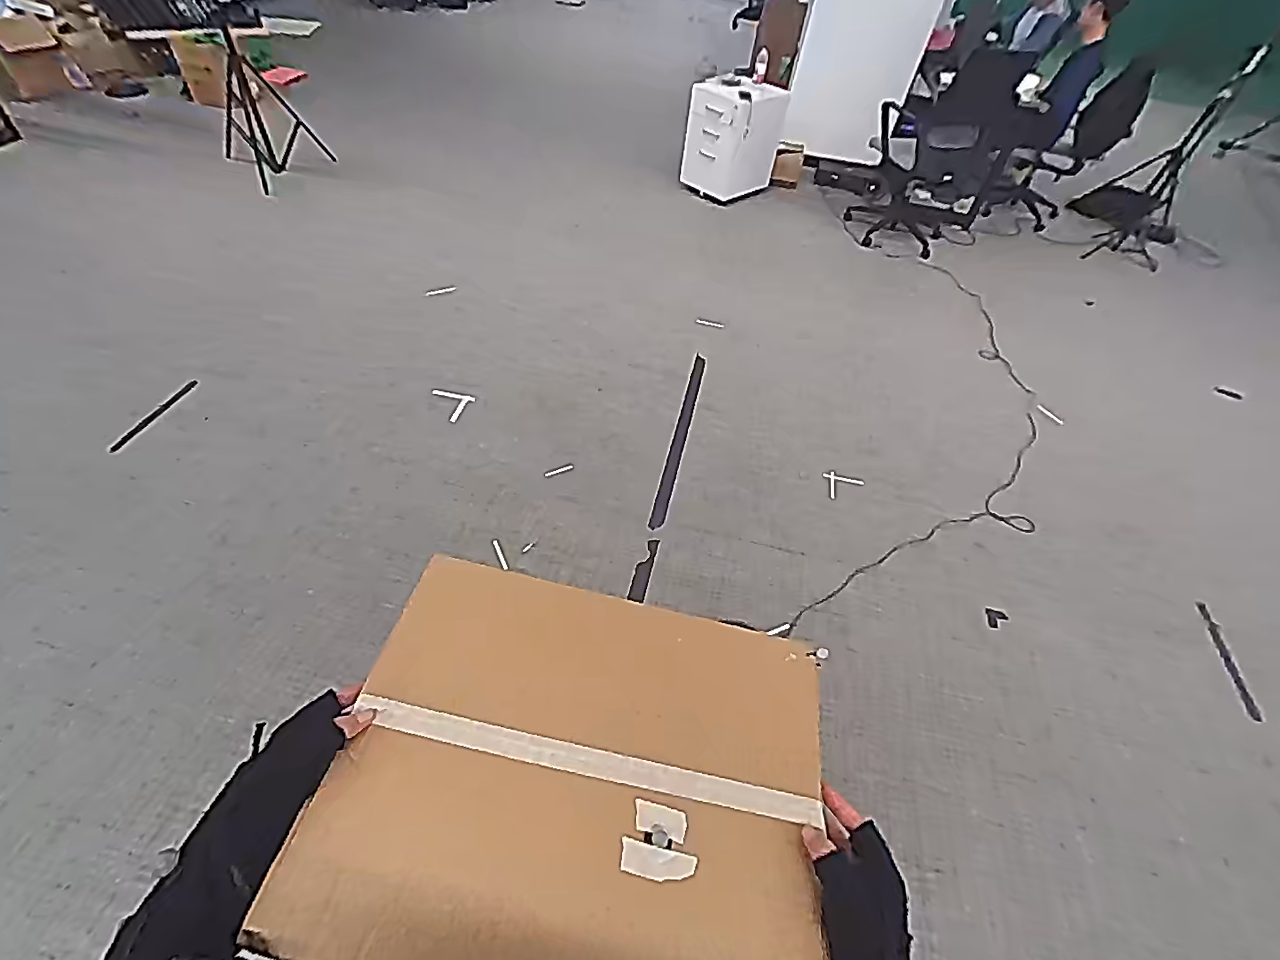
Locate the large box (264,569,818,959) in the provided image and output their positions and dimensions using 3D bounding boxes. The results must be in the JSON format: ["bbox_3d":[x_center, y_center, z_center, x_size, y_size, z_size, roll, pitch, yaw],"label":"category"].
[{"bbox_3d":[-0.069,0.342,0.580,0.408,0.320,0.320,14,49,-1],"label":"large box"}]
